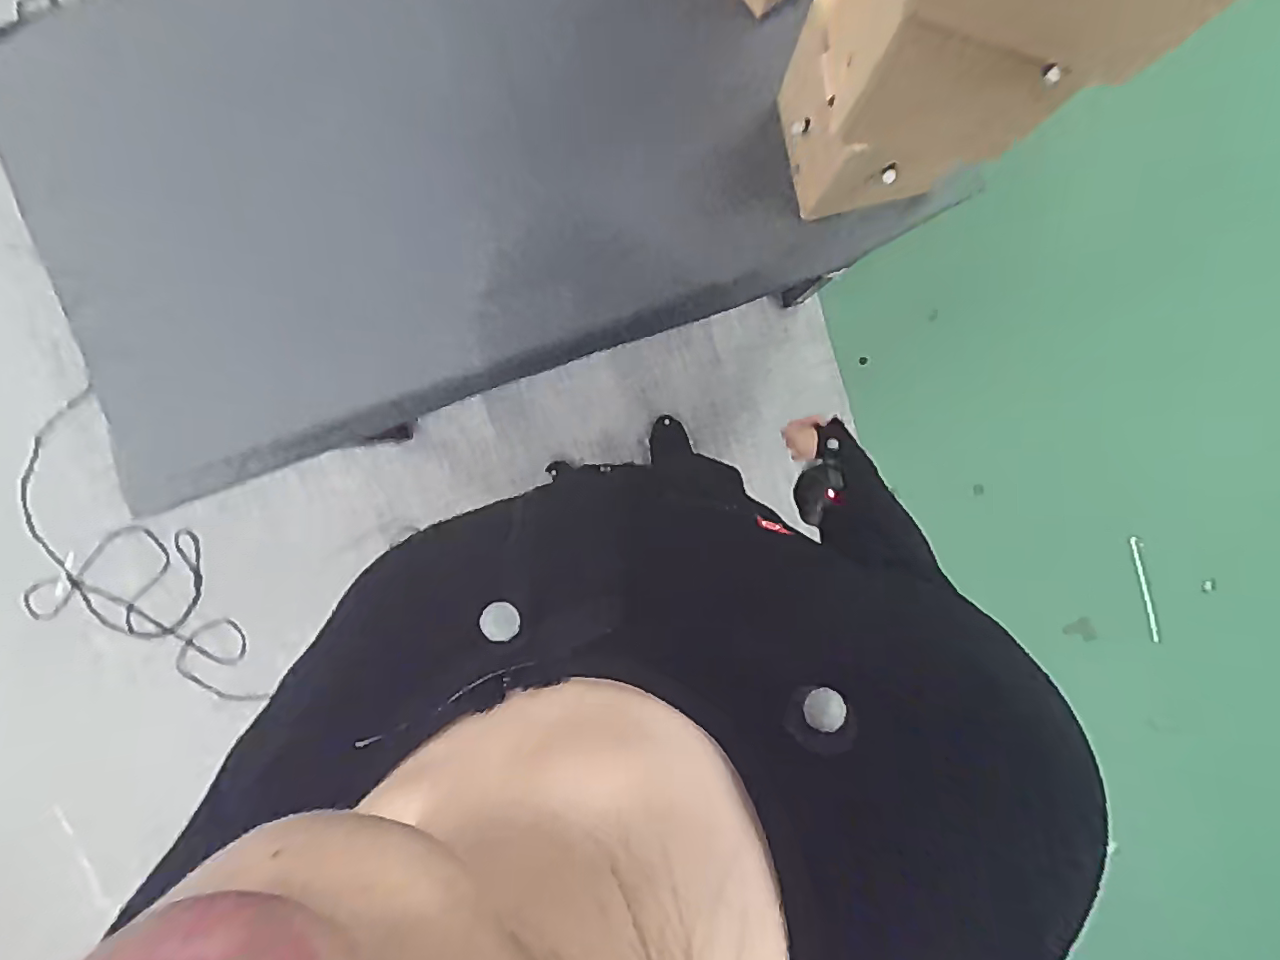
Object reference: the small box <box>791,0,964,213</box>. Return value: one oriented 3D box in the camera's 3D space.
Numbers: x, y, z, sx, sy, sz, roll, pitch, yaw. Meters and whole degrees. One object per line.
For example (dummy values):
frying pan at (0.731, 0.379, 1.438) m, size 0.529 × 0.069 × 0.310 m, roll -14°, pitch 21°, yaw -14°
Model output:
small box at (0.284, -0.435, 0.622) m, size 0.179 × 0.176 × 0.168 m, roll -12°, pitch 93°, yaw 2°

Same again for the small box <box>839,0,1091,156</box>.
small box at (0.291, -0.409, 0.460) m, size 0.179 × 0.176 × 0.168 m, roll 9°, pitch 94°, yaw -1°
